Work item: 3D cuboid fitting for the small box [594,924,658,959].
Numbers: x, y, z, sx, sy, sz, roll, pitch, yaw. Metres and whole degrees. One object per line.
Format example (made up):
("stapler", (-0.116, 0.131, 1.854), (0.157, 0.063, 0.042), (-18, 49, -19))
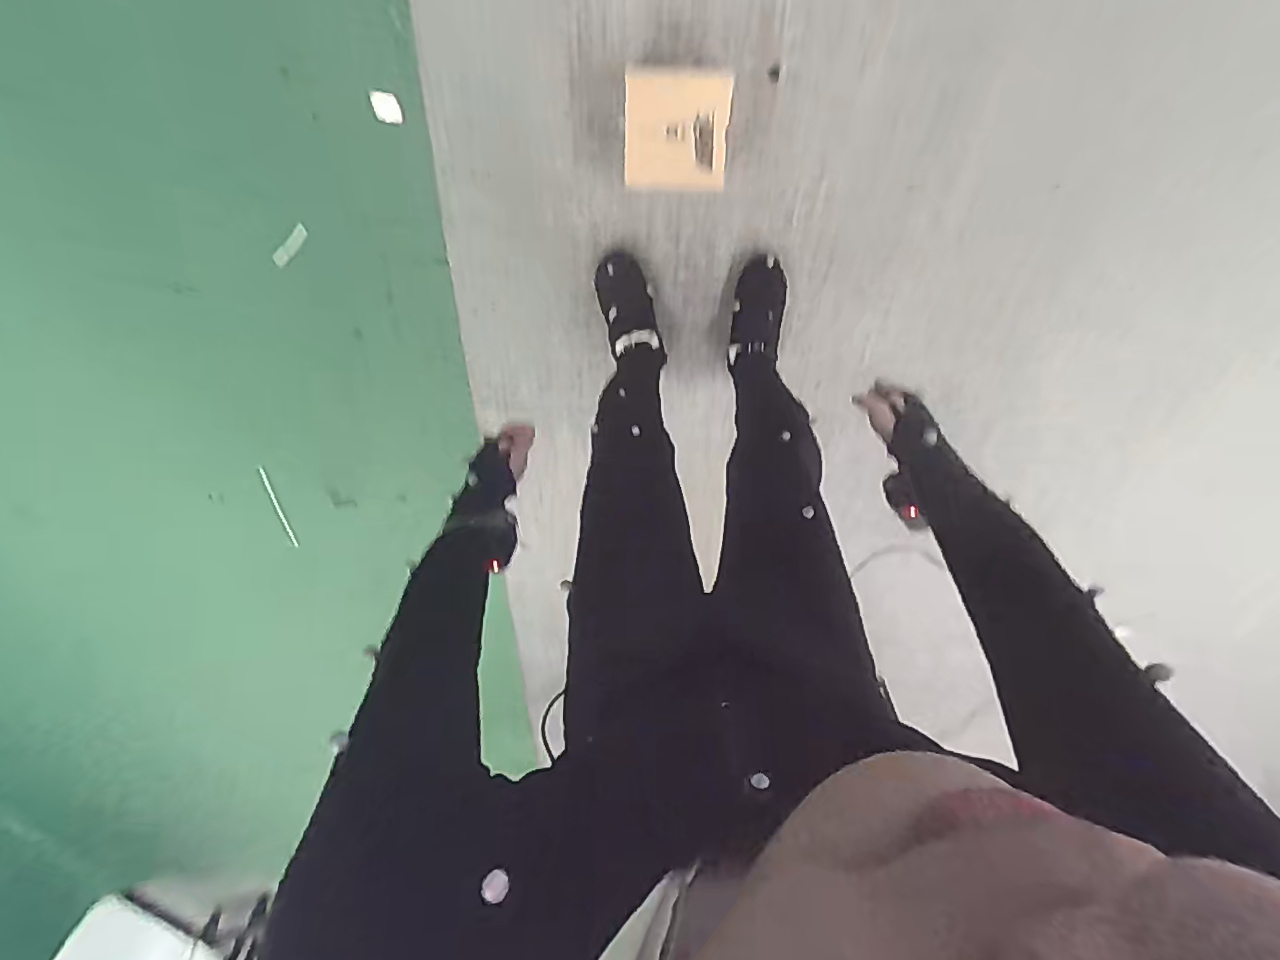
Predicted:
("small box", (-0.041, 1.362, 1.501), (0.168, 0.176, 0.179), (6, 127, -4))

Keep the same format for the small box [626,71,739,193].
("small box", (0.068, -0.615, 0.954), (0.179, 0.176, 0.168), (3, 126, 1))
